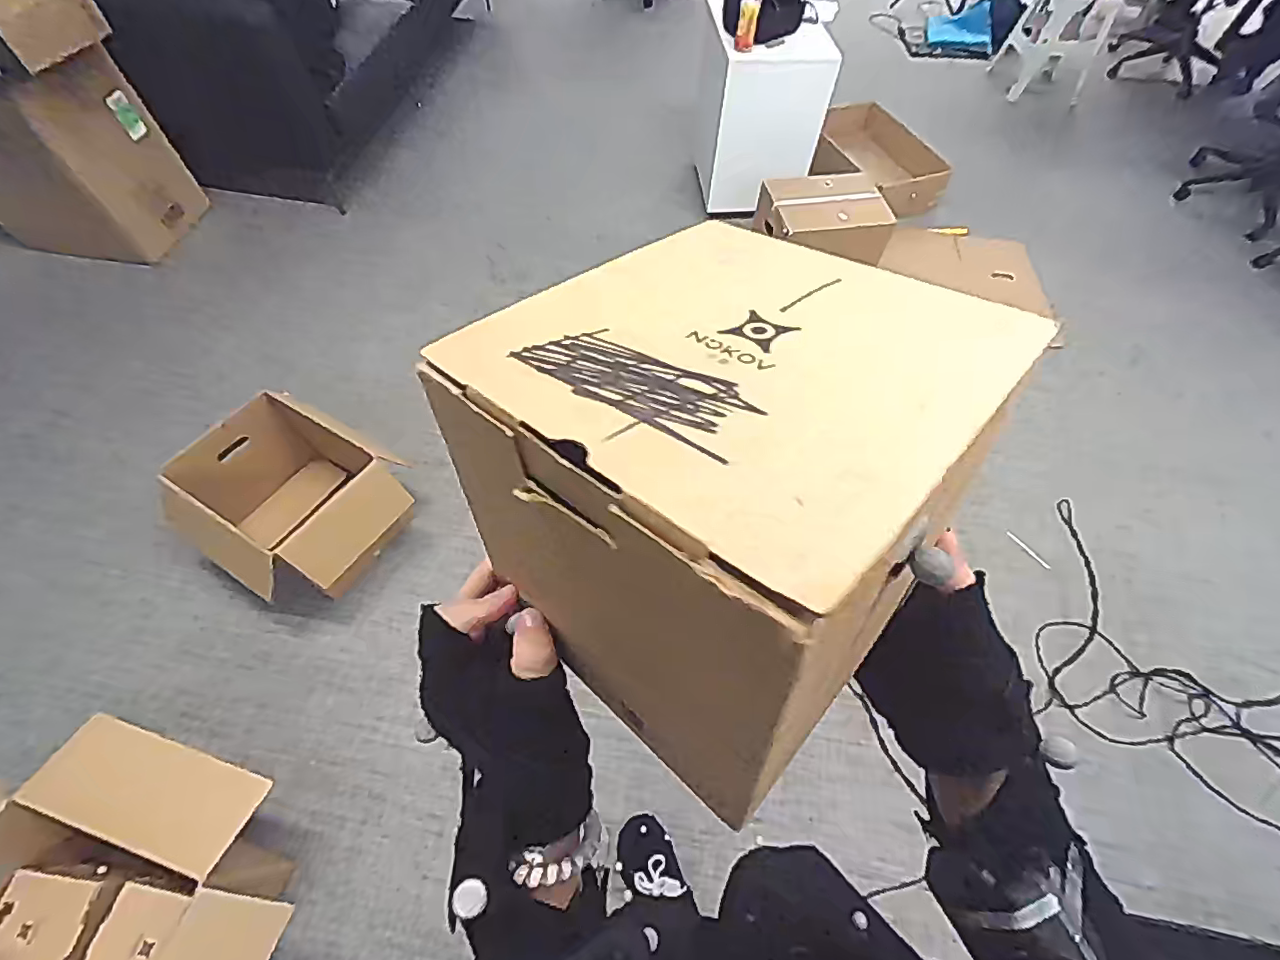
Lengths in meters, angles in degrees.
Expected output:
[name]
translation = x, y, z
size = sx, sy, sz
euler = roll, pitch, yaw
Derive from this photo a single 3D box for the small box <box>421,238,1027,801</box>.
[small box]
translation = 0.036, 0.011, 0.262
size = 0.168, 0.176, 0.179
euler = 33, 55, 31
